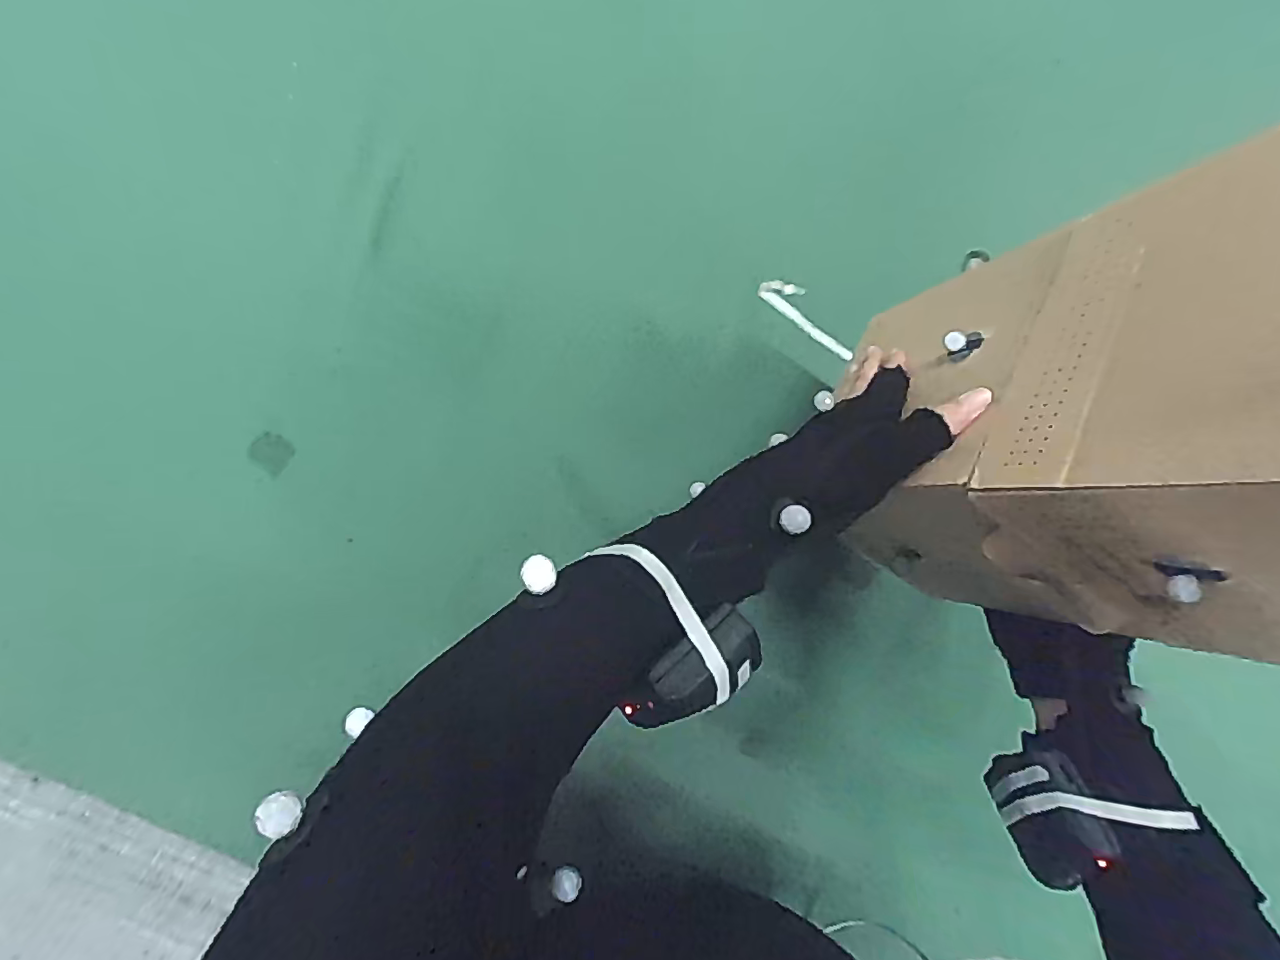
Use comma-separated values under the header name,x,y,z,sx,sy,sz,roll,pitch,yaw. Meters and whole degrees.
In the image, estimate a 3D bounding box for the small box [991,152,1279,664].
name,x,y,z,sx,sy,sz,roll,pitch,yaw
small box,0.289,-0.028,0.220,0.168,0.176,0.179,32,79,-14

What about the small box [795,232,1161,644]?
name,x,y,z,sx,sy,sz,roll,pitch,yaw
small box,0.241,-0.020,0.376,0.168,0.176,0.179,34,78,-13
